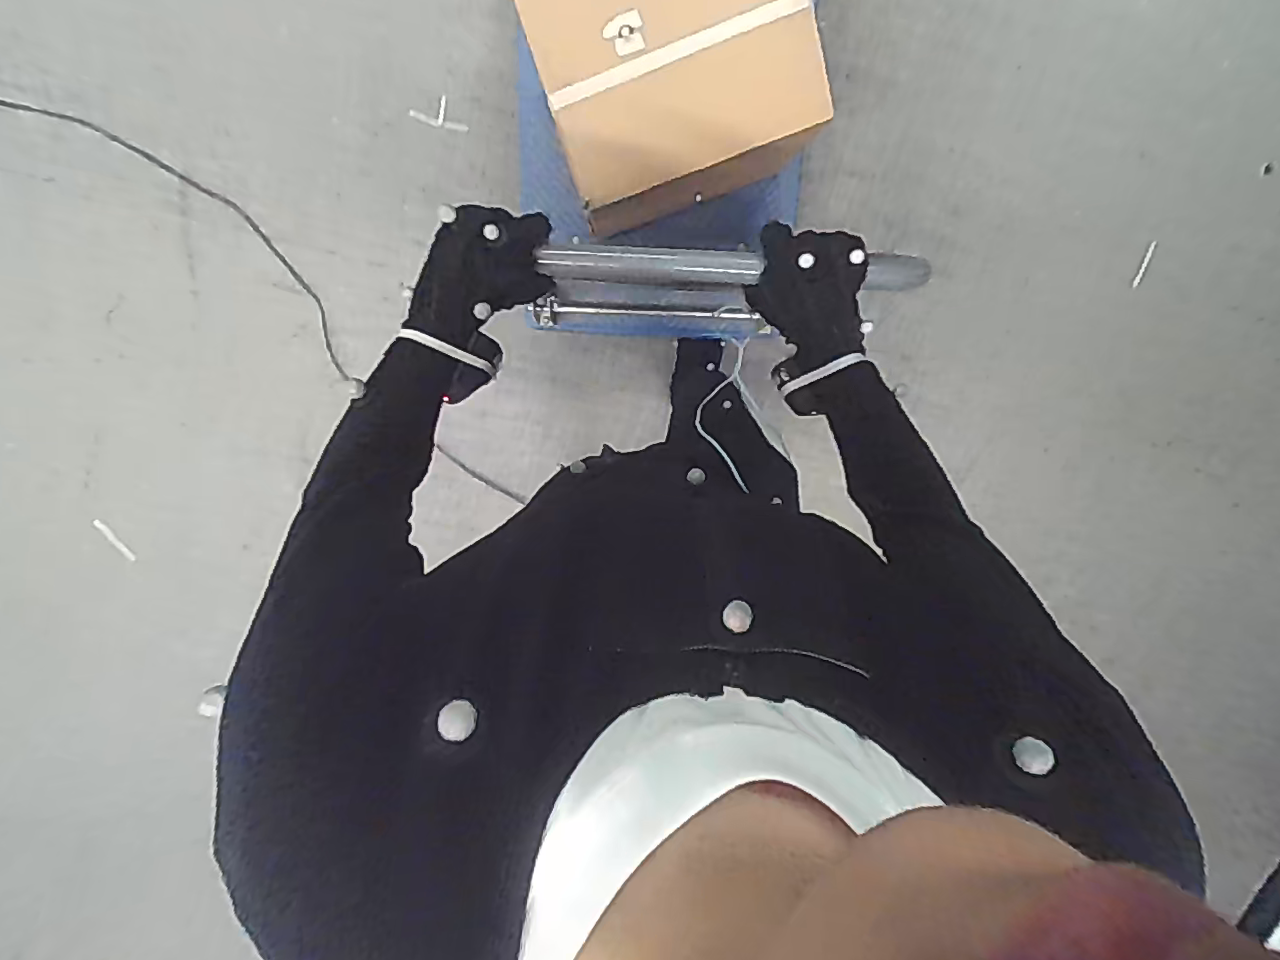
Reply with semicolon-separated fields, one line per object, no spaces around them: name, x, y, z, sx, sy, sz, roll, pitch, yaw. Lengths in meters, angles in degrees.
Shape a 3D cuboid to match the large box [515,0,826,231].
large box;0.051;-0.683;0.949;0.408;0.320;0.320;-19;105;5
